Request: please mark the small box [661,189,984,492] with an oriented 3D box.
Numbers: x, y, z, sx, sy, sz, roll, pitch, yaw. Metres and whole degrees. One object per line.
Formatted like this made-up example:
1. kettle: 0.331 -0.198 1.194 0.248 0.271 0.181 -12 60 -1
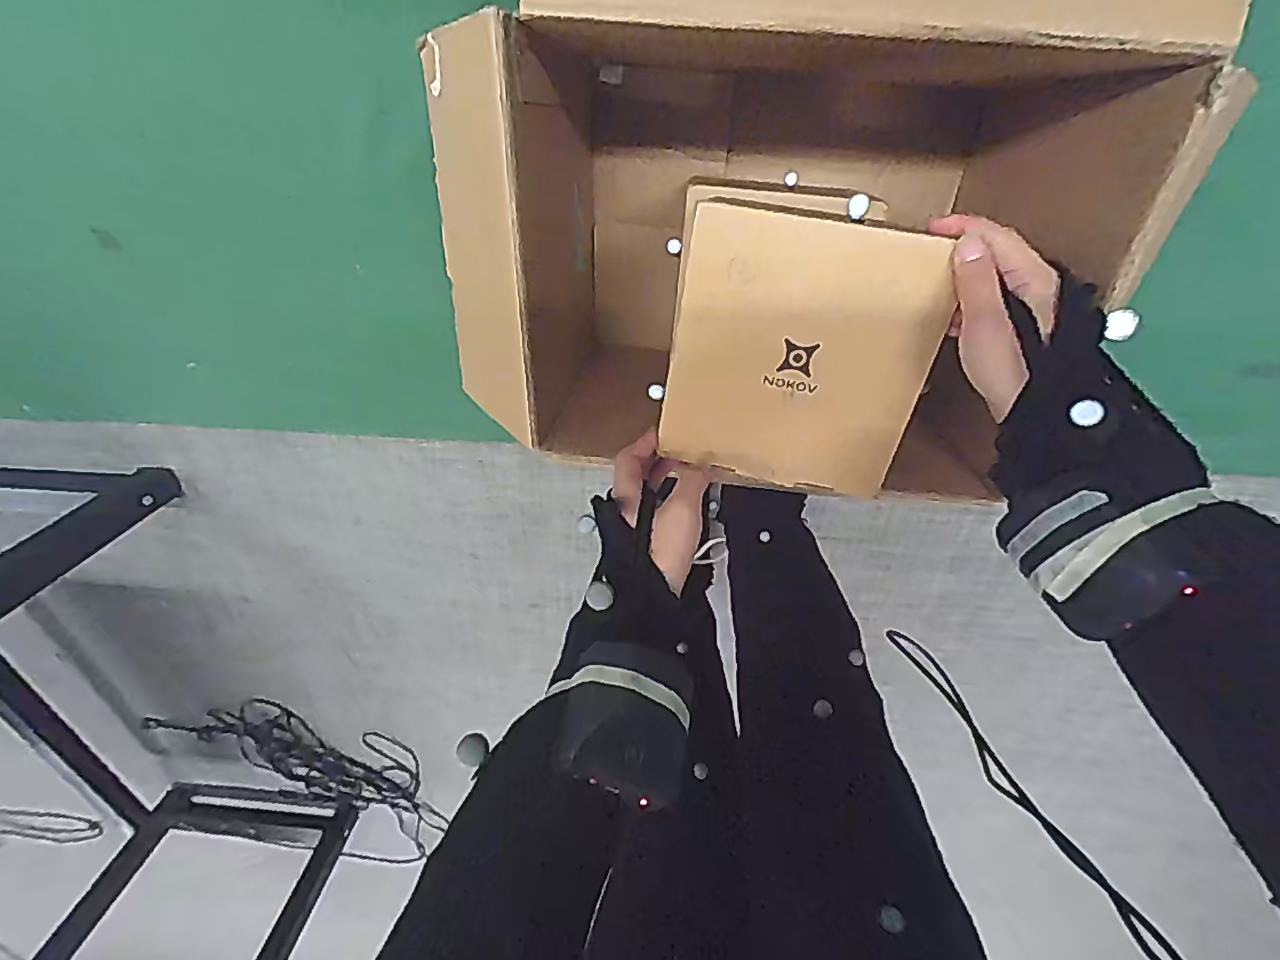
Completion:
1. small box: 0.118 -0.119 0.422 0.168 0.176 0.179 12 121 4
